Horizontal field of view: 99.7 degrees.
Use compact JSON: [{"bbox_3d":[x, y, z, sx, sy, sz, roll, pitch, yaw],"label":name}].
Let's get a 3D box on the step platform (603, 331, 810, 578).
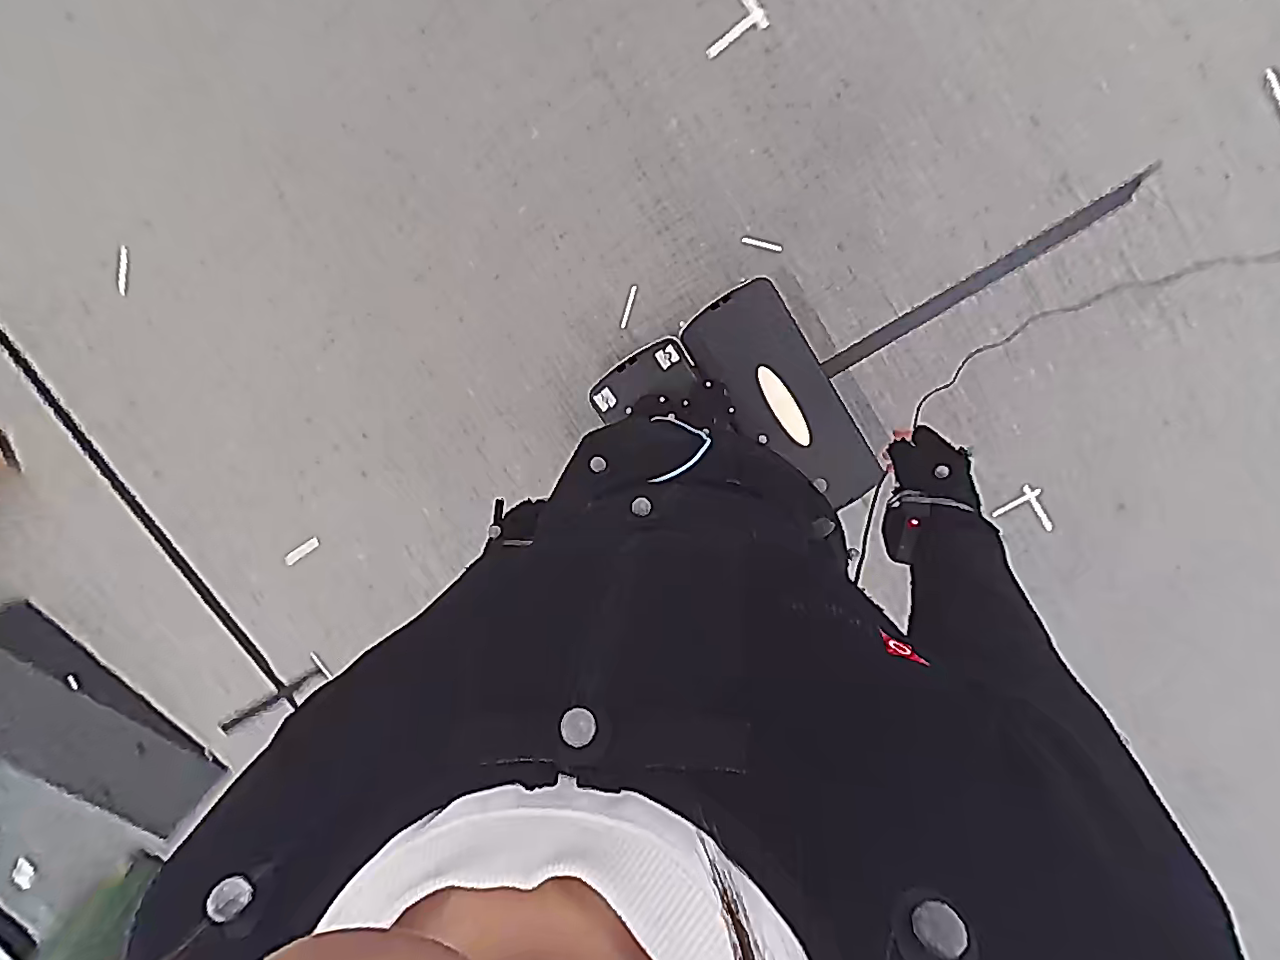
[{"bbox_3d":[0.186,-0.066,1.510,0.286,0.204,0.684,-33,96,12],"label":"step platform"}]
